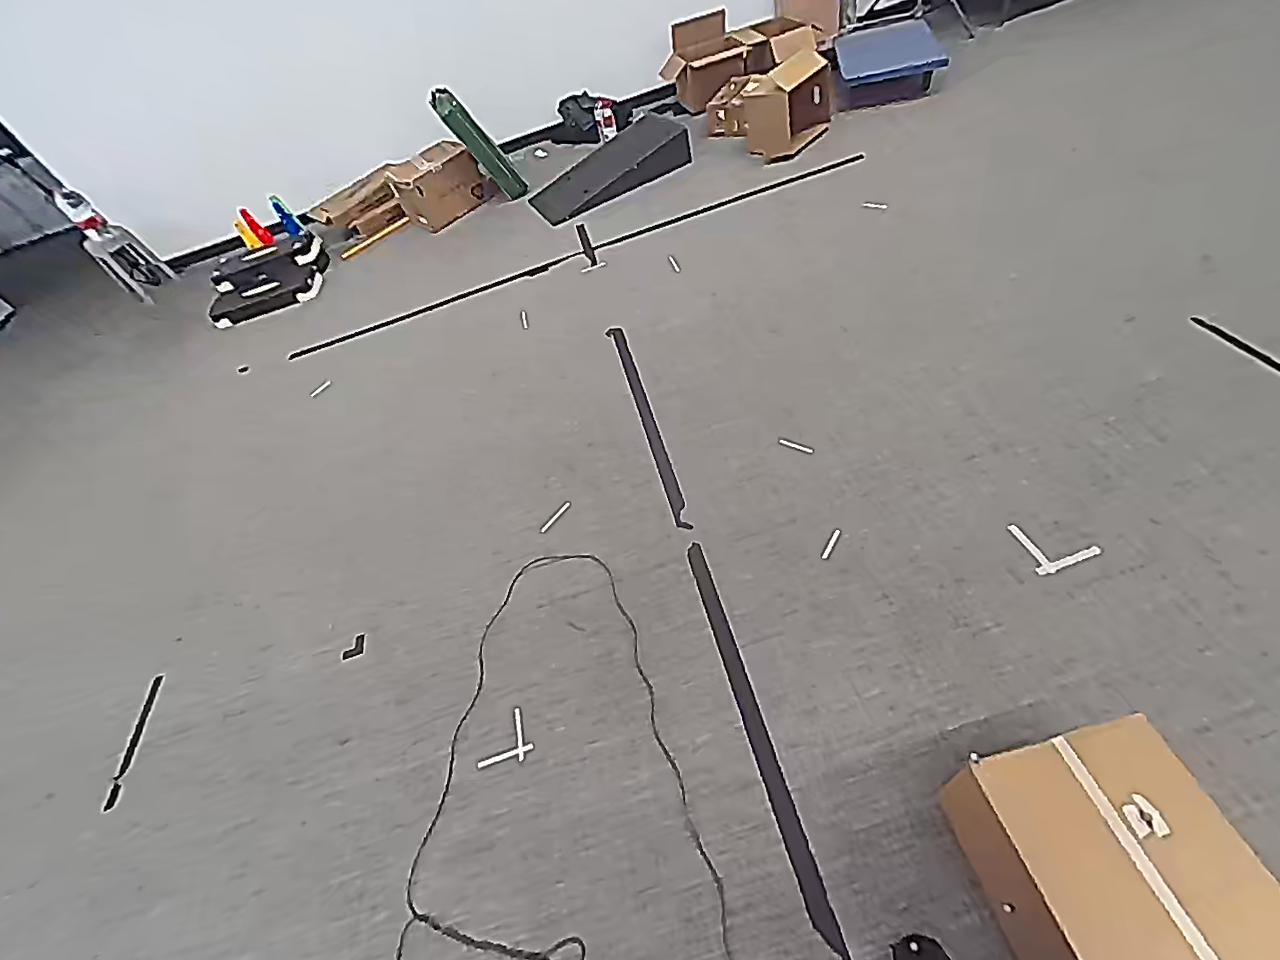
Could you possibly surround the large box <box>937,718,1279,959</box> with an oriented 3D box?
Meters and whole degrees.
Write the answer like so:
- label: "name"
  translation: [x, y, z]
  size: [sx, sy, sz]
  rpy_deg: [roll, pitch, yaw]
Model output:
- label: "large box"
  translation: [0.800, 0.701, 0.940]
  size: [0.320, 0.320, 0.408]
  rpy_deg: [-17, 48, 1]
